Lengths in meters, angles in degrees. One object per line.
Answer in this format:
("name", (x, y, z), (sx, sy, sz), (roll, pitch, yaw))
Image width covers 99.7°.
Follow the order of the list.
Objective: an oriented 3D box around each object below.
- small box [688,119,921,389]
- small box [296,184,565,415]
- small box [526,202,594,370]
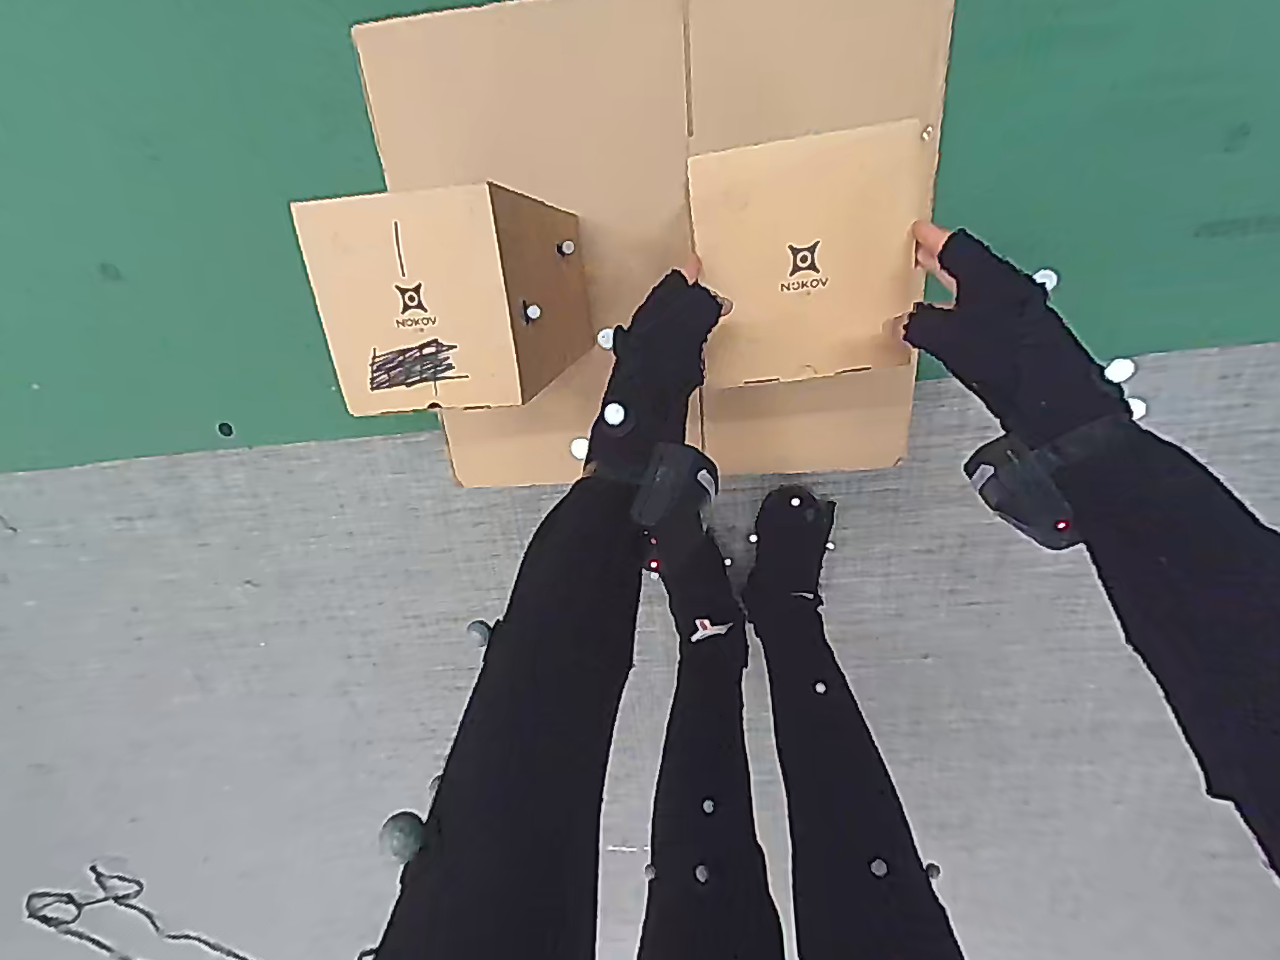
("small box", (0.133, -0.192, 0.489), (0.168, 0.176, 0.179), (-6, 111, 7))
("small box", (-0.177, -0.171, 0.521), (0.168, 0.176, 0.179), (-2, 111, 7))
("small box", (-0.160, -0.232, 0.673), (0.168, 0.176, 0.179), (-4, 112, 8))
